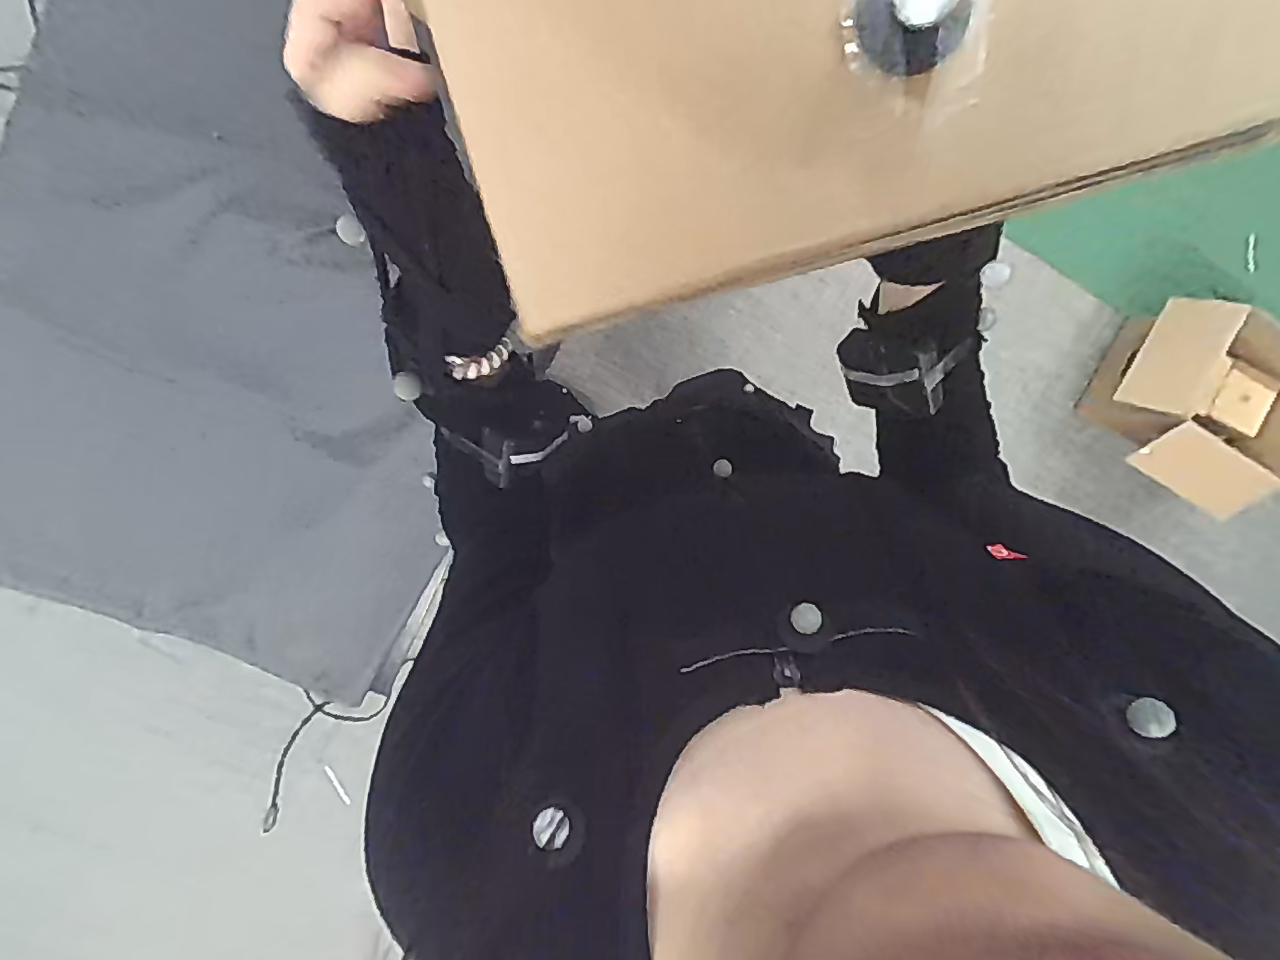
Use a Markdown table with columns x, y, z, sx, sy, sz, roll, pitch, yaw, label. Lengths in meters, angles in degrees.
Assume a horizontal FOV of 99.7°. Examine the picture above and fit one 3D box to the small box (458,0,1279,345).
| x | y | z | sx | sy | sz | roll | pitch | yaw | label |
| --- | --- | --- | --- | --- | --- | --- | --- | --- | --- |
| 0.043 | -0.156 | 0.175 | 0.179 | 0.168 | 0.176 | -14 | 107 | 9 | small box |
